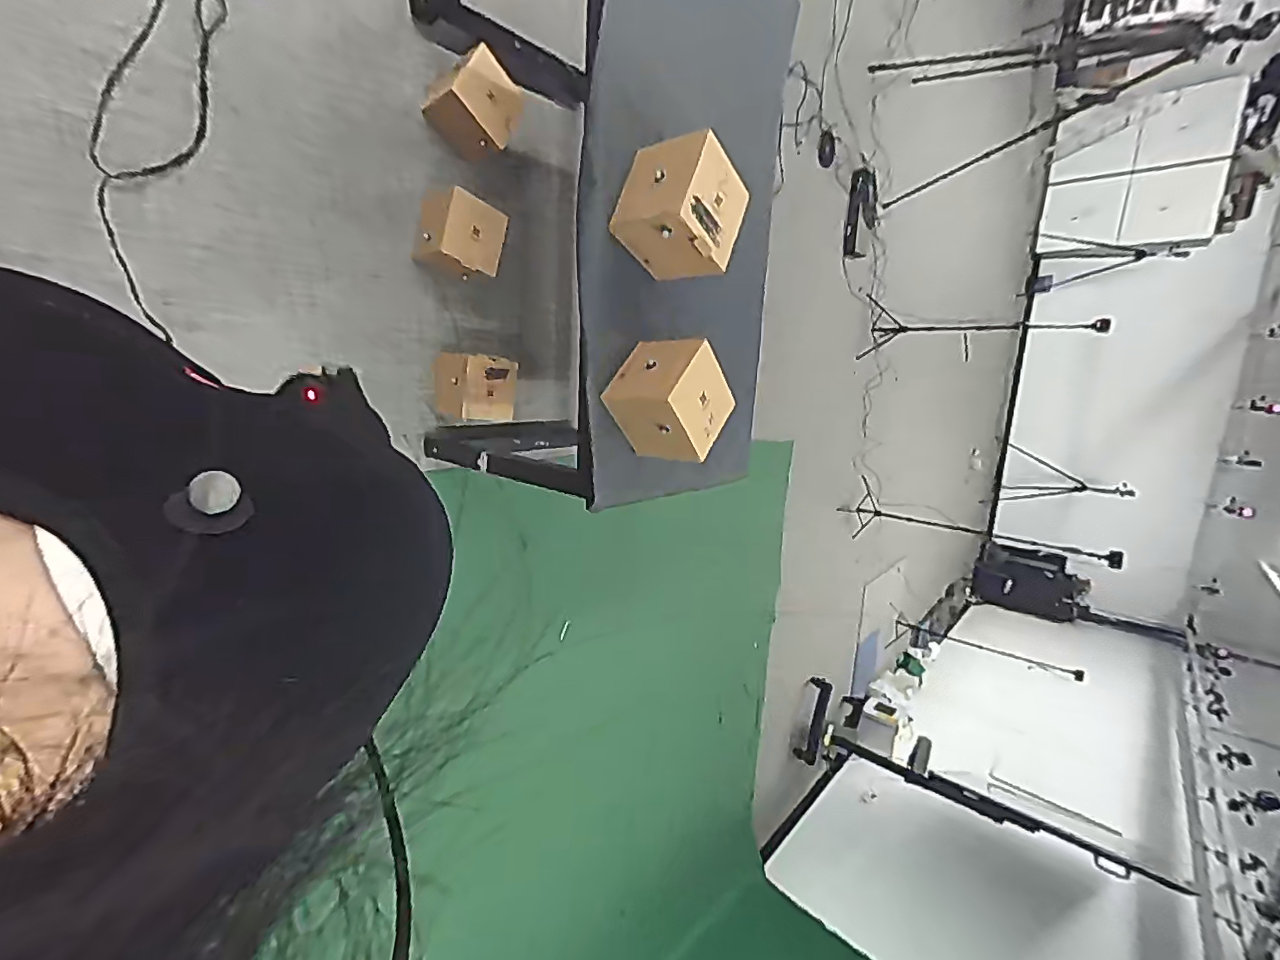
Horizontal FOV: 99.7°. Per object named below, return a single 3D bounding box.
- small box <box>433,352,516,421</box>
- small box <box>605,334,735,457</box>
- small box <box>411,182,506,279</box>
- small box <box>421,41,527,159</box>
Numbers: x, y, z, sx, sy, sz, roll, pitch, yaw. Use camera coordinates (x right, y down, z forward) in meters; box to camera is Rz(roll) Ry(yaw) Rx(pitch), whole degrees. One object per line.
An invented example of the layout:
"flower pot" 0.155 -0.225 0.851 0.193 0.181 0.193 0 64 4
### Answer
"small box" -0.480 -0.270 1.562 0.168 0.176 0.179 -1 101 -48
"small box" 0.060 -0.166 1.079 0.168 0.176 0.179 -58 136 -26
"small box" -0.492 -0.659 1.456 0.168 0.176 0.179 12 89 -50
"small box" -0.443 -0.994 1.434 0.179 0.176 0.168 40 69 -46
